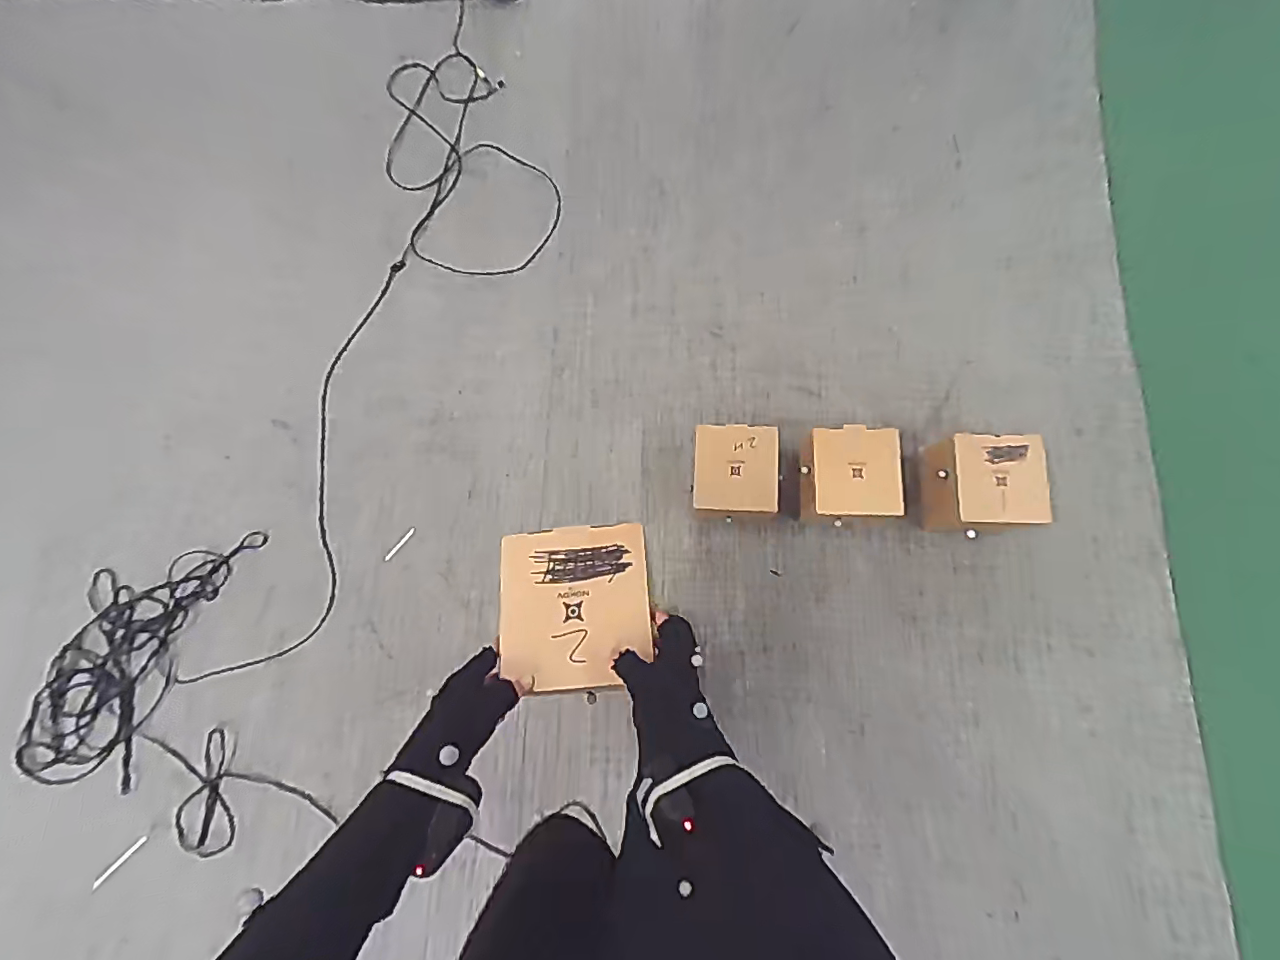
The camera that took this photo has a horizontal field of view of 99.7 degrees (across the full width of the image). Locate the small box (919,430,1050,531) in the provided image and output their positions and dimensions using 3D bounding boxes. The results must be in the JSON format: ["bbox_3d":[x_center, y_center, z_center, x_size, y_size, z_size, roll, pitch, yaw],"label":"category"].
[{"bbox_3d":[0.689,0.006,1.103,0.168,0.176,0.179,1,79,5],"label":"small box"}]

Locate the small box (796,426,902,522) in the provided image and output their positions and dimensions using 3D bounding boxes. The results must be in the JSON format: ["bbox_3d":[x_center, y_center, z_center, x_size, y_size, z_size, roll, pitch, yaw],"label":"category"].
[{"bbox_3d":[0.427,-0.006,1.128,0.168,0.176,0.179,0,78,4],"label":"small box"}]

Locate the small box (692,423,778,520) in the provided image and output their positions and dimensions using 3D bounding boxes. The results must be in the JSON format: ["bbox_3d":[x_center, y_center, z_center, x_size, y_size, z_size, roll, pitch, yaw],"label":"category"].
[{"bbox_3d":[0.195,-0.013,1.146,0.168,0.176,0.179,2,78,5],"label":"small box"}]
